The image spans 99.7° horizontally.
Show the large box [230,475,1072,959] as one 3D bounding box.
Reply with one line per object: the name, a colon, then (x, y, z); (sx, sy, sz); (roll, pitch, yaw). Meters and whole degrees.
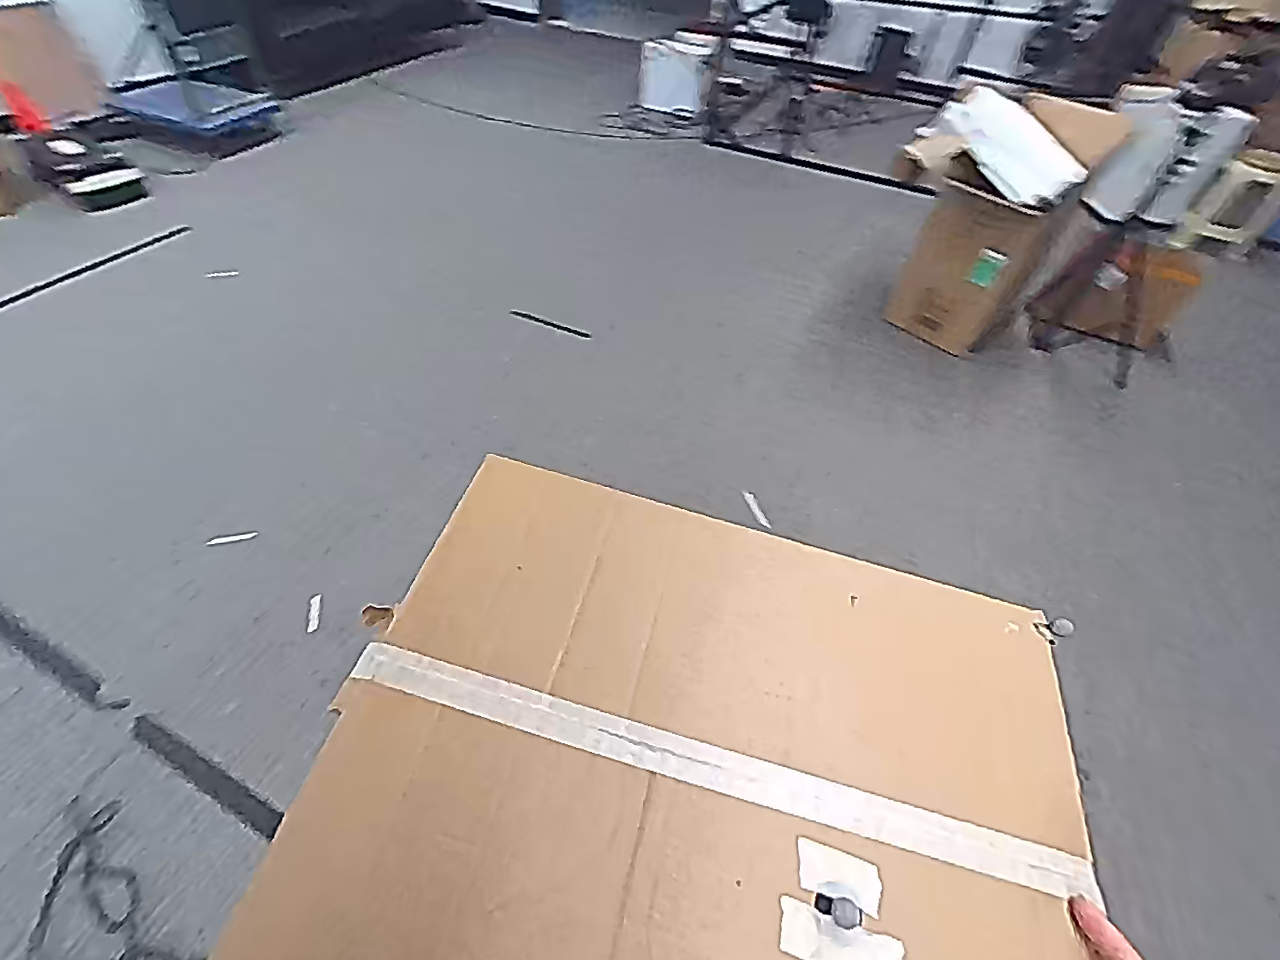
large box: (0.018, 0.247, 0.427); (0.408, 0.320, 0.320); (16, 56, 2)
